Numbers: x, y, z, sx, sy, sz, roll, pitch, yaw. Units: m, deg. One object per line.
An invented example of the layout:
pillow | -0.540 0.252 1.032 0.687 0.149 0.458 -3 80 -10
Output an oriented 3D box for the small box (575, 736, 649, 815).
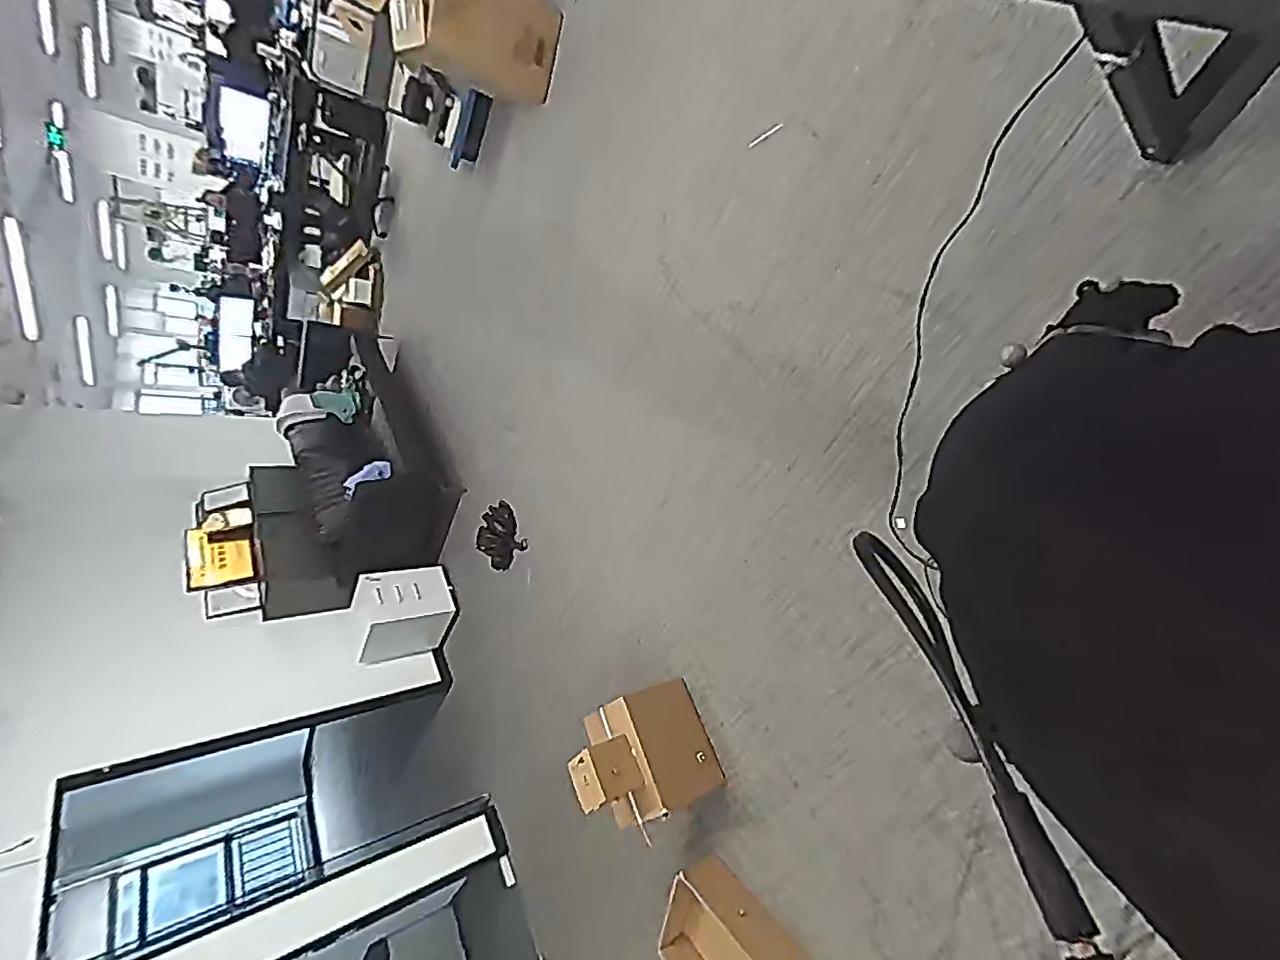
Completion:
small box | -0.098 1.037 1.907 0.168 0.176 0.179 -53 53 35
